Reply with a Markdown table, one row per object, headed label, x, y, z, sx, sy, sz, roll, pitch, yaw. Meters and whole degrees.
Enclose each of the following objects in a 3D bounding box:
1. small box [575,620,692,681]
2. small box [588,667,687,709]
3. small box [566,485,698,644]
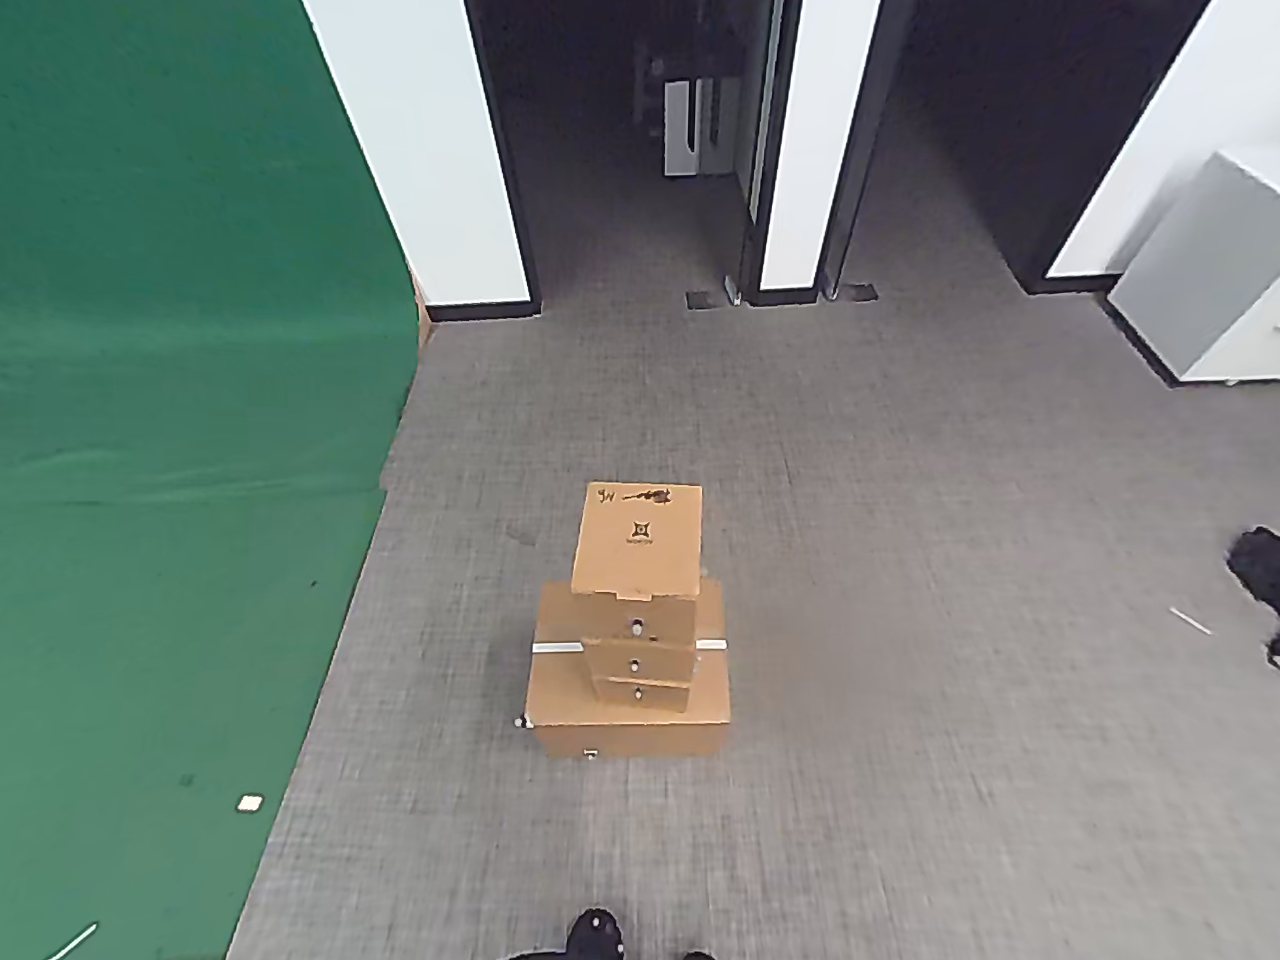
| label | x | y | z | sx | sy | sz | roll | pitch | yaw |
| --- | --- | --- | --- | --- | --- | --- | --- | --- | --- |
| small box | 0.001 | 0.233 | 0.918 | 0.179 | 0.176 | 0.168 | 2 | 54 | 7 |
| small box | 0.004 | 0.333 | 1.047 | 0.179 | 0.176 | 0.168 | 4 | 55 | 4 |
| small box | -0.002 | 0.128 | 0.792 | 0.168 | 0.176 | 0.179 | 3 | 55 | 5 |
